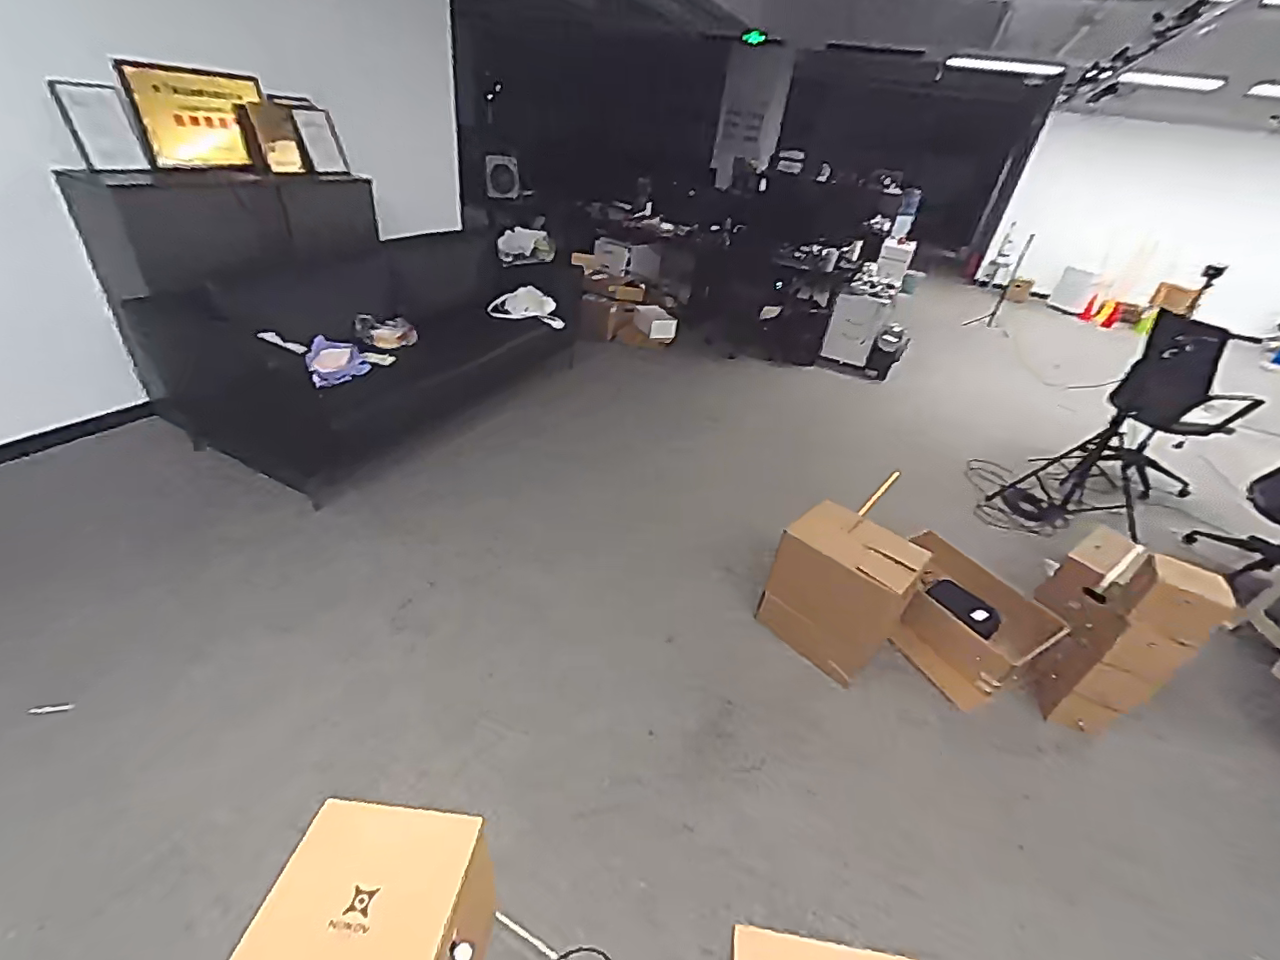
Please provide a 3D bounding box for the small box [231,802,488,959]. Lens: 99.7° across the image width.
[{"bbox_3d":[-0.252,0.449,0.513,0.168,0.176,0.179,5,29,4],"label":"small box"}]
